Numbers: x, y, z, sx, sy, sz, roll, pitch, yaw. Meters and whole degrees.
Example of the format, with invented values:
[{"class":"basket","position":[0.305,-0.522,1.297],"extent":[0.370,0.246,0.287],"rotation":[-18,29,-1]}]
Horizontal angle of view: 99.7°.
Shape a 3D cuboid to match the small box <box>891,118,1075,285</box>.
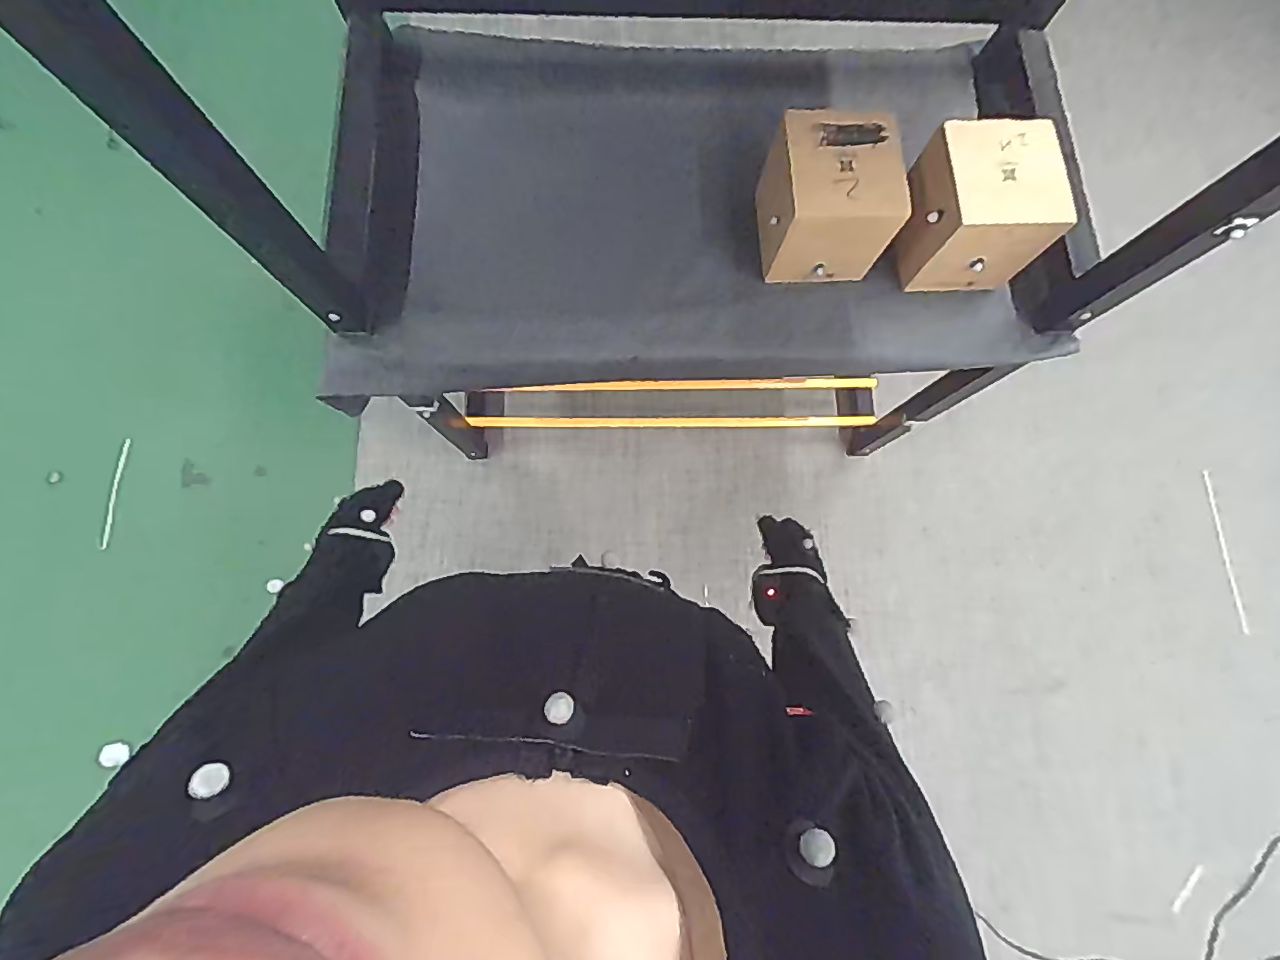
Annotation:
[{"class":"small box","position":[0.518,-0.423,0.845],"extent":[0.168,0.176,0.179],"rotation":[-2,77,-2]}]
